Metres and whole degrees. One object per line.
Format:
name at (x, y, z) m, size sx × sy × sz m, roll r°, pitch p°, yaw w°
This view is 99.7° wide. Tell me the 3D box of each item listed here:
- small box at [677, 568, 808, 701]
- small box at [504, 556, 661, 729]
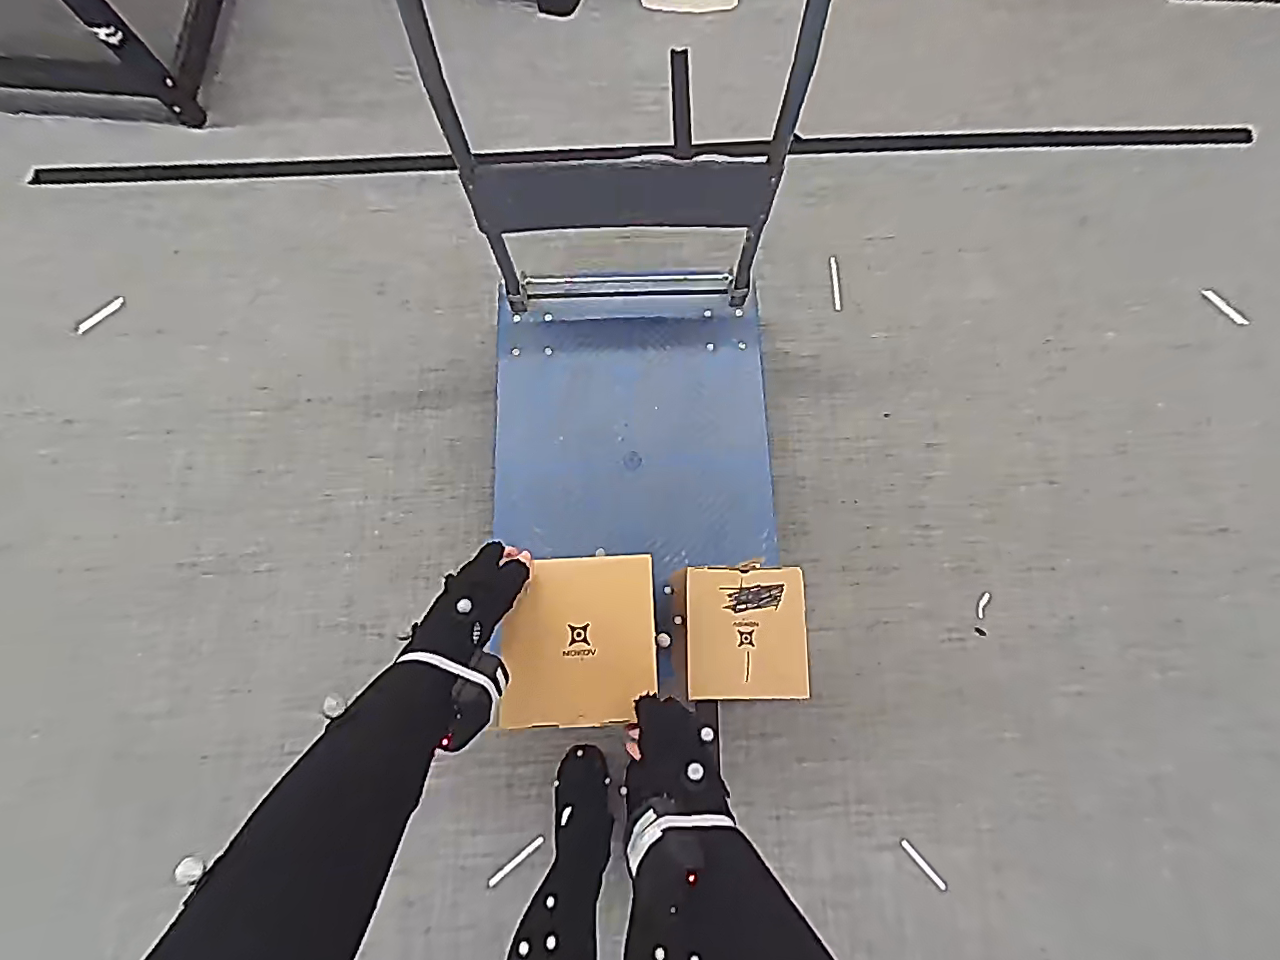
small box at (0.145, 0.227, 0.820) m, size 0.168 × 0.176 × 0.179 m, roll 1°, pitch 79°, yaw 0°
small box at (-0.064, 0.188, 0.658) m, size 0.168 × 0.176 × 0.179 m, roll -2°, pitch 79°, yaw -2°
